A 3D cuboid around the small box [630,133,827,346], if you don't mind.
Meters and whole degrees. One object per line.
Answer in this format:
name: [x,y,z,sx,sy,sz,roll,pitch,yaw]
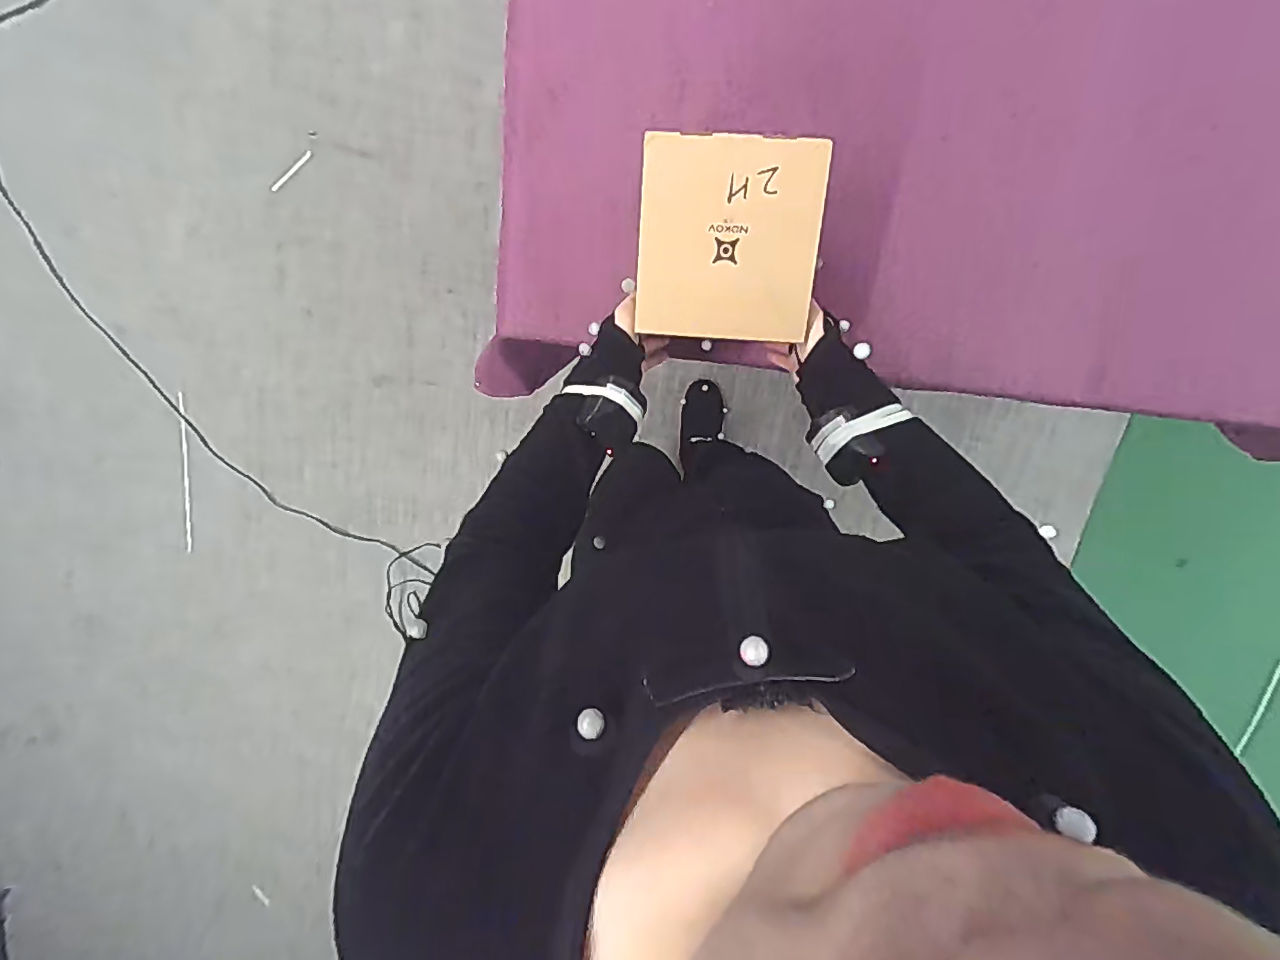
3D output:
small box: [0.084,-0.240,0.575,0.168,0.176,0.179,5,106,3]
